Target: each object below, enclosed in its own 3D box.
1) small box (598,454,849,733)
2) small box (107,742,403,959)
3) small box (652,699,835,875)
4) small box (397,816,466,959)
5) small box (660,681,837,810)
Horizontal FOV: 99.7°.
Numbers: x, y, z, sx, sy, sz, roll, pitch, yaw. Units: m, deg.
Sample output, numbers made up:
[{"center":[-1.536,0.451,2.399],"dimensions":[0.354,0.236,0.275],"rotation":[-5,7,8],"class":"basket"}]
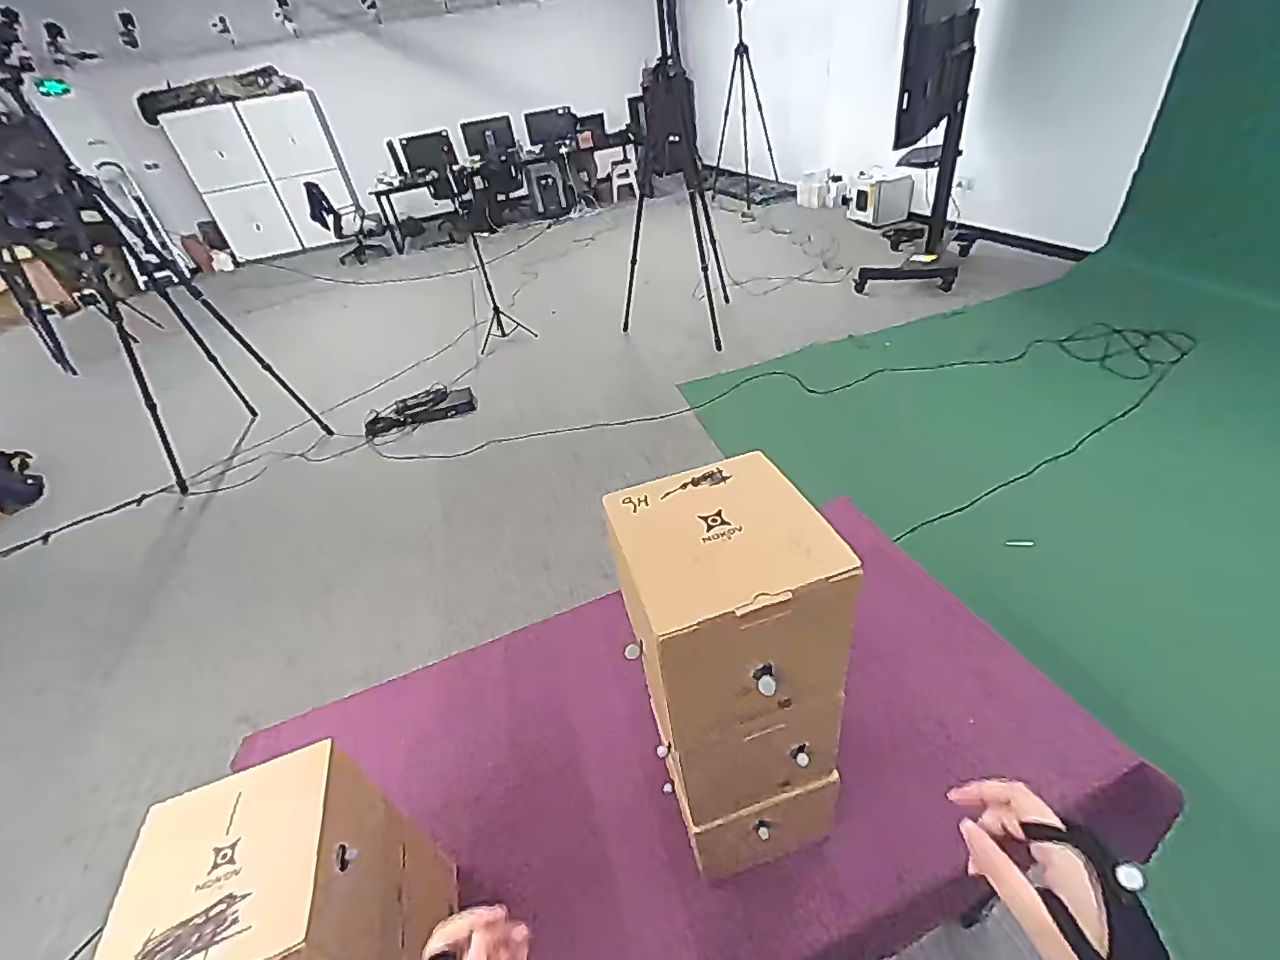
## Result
[{"center":[0.071,0.108,0.506],"dimensions":[0.168,0.176,0.179],"rotation":[-16,38,-8],"class":"small box"},{"center":[-0.341,0.398,0.514],"dimensions":[0.168,0.176,0.179],"rotation":[-19,36,-11],"class":"small box"},{"center":[0.130,0.368,0.695],"dimensions":[0.179,0.176,0.168],"rotation":[-17,38,-6],"class":"small box"},{"center":[-0.311,0.529,0.610],"dimensions":[0.179,0.176,0.168],"rotation":[-18,37,-10],"class":"small box"},{"center":[0.101,0.236,0.605],"dimensions":[0.168,0.176,0.179],"rotation":[-16,37,-6],"class":"small box"}]
